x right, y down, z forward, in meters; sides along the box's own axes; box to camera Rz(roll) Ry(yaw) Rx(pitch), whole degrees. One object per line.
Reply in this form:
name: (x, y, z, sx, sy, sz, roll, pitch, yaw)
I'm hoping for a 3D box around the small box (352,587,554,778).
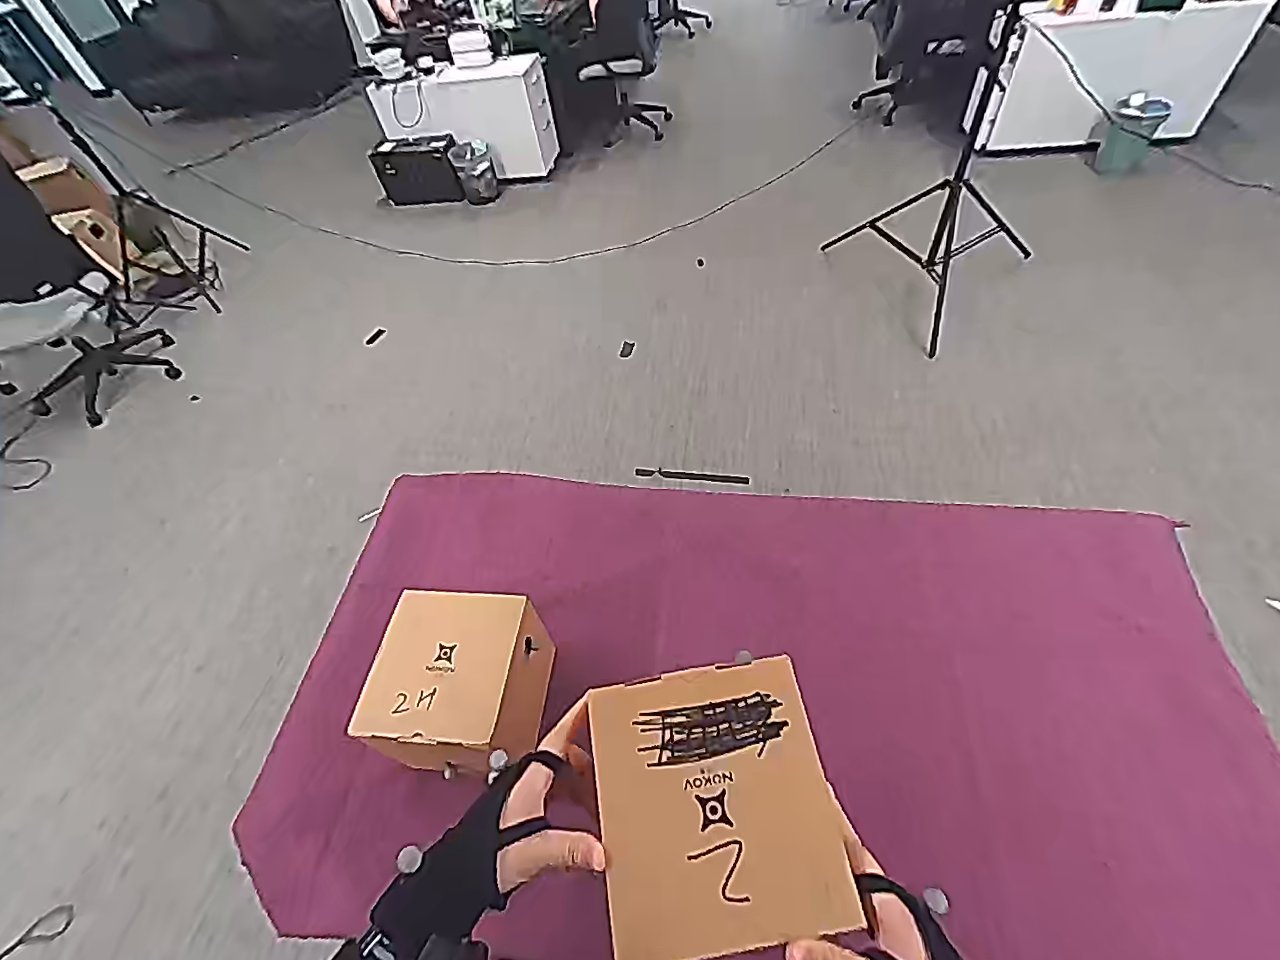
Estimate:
small box: (-0.214, 0.255, 0.681, 0.168, 0.176, 0.179, 1, 52, 8)
